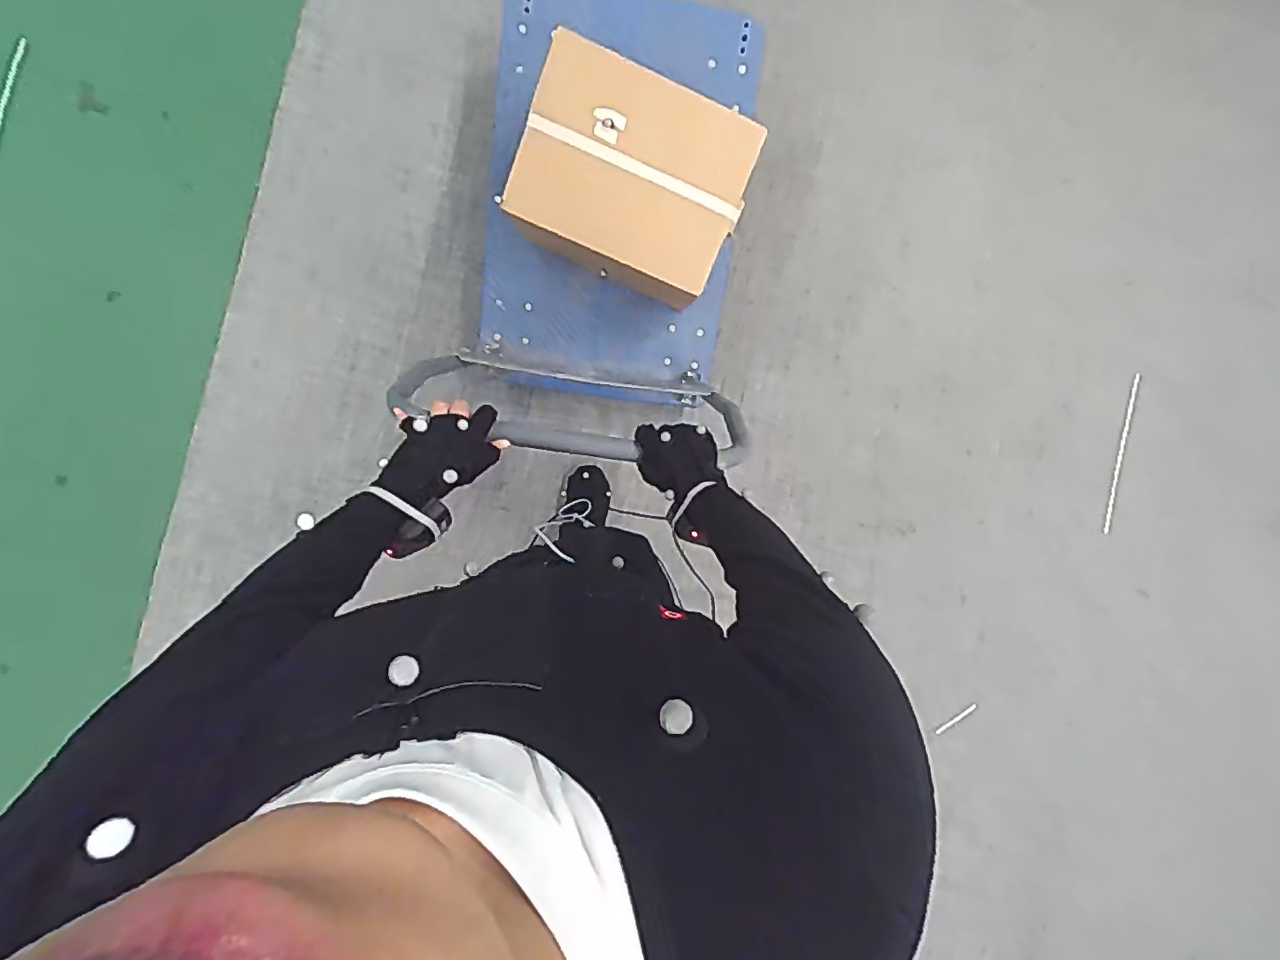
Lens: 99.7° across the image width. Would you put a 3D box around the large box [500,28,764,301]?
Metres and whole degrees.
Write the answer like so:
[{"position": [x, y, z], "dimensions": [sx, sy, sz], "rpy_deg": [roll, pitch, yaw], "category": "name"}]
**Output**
[{"position": [-0.018, -0.600, 1.118], "dimensions": [0.408, 0.320, 0.320], "rpy_deg": [23, 102, -6], "category": "large box"}]
